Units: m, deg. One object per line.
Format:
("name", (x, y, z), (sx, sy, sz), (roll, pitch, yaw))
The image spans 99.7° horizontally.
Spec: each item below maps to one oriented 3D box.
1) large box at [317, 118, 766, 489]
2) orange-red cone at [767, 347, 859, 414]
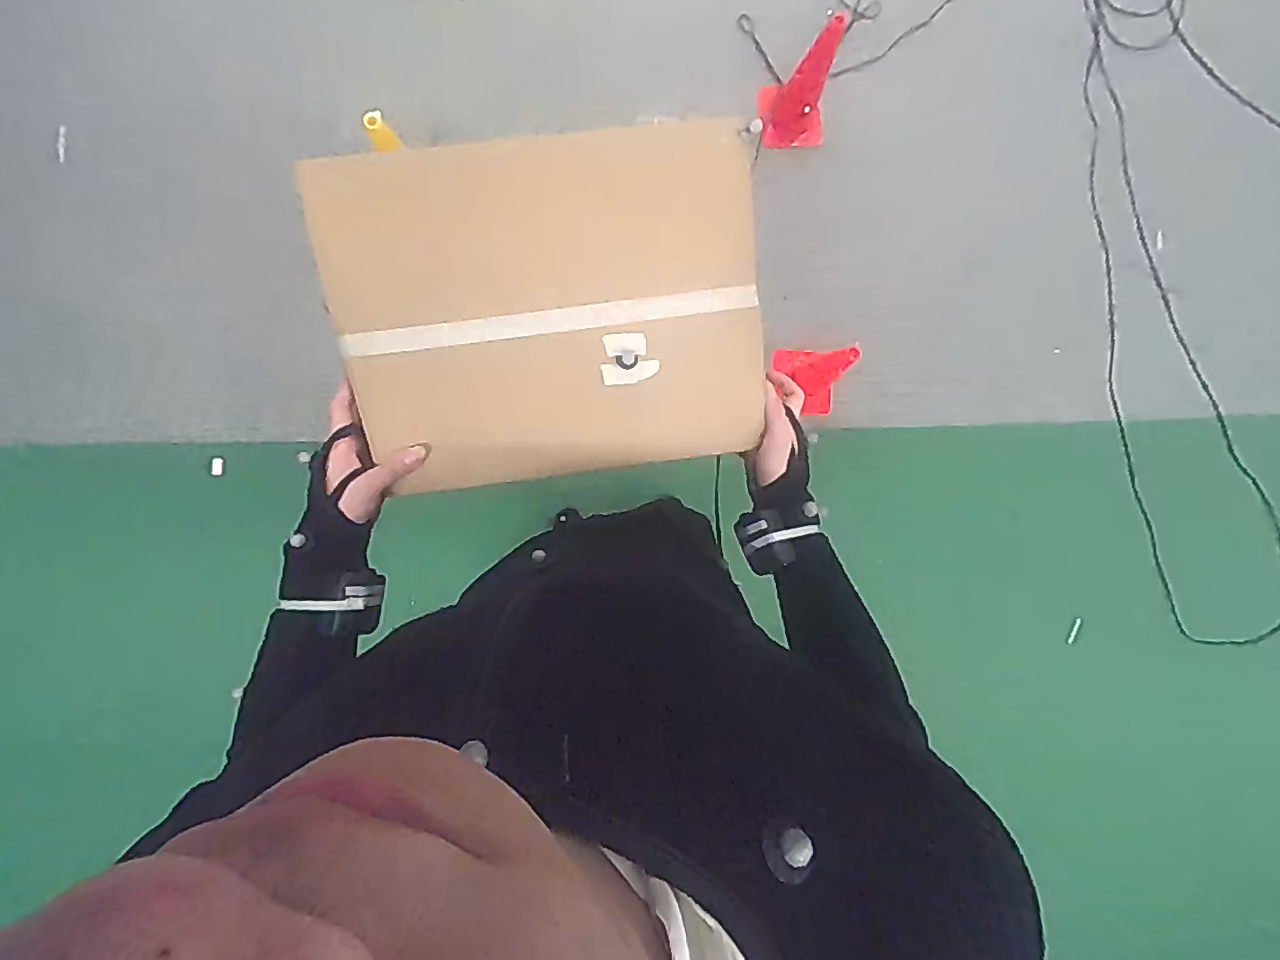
("large box", (-0.093, -0.202, 0.677), (0.408, 0.320, 0.320), (-8, 107, -4))
("orange-red cone", (0.523, -0.318, 1.540), (0.199, 0.360, 0.198), (6, 89, -6))
